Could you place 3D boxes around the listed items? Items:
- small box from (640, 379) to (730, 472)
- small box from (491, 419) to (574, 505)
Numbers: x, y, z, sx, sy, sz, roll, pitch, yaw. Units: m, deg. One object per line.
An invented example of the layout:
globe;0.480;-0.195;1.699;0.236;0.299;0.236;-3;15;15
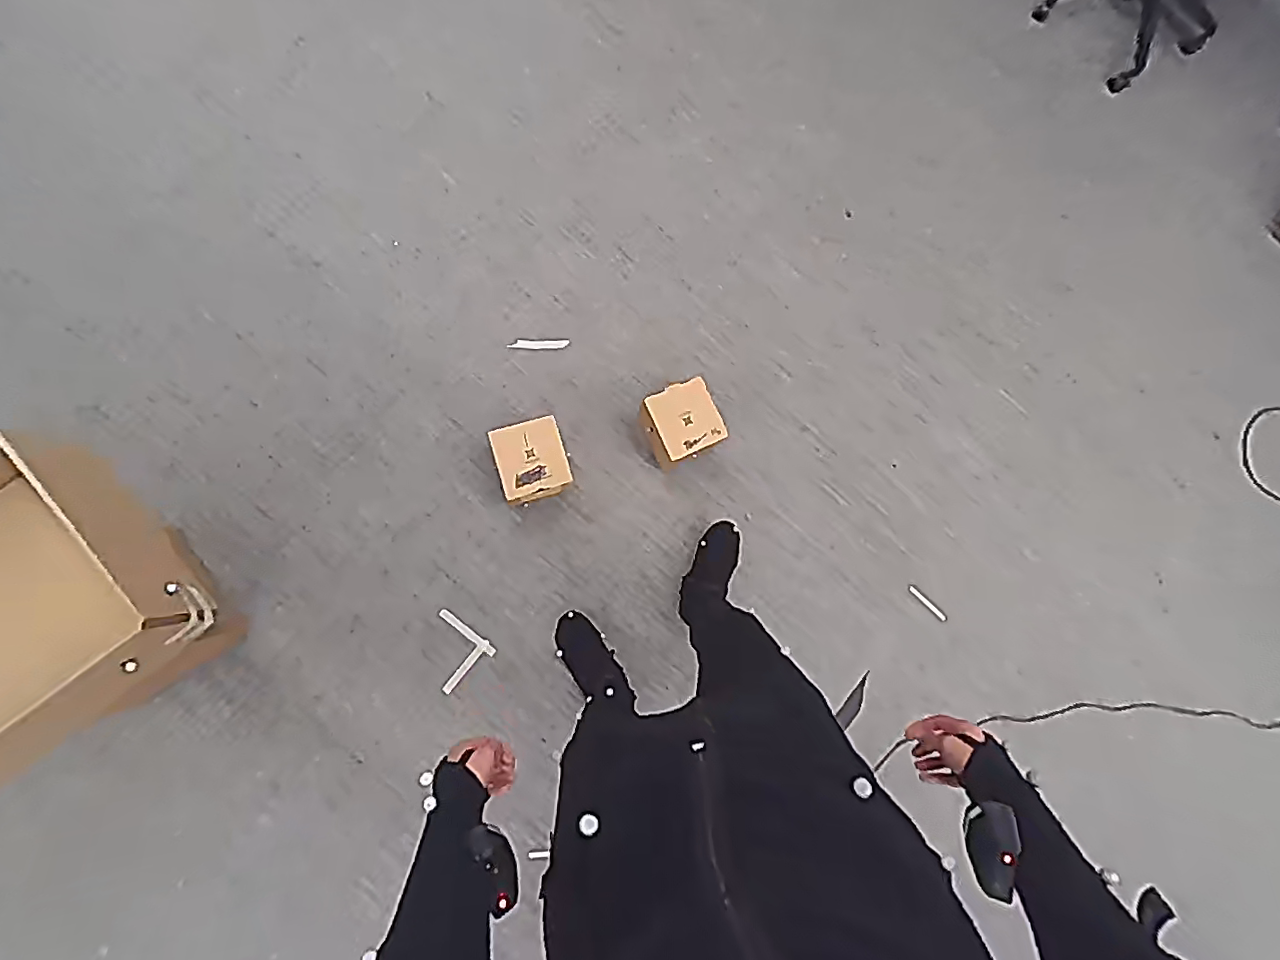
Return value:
small box;0.111;-0.138;1.438;0.168;0.176;0.179;-24;85;-9
small box;-0.267;-0.038;1.377;0.168;0.176;0.179;-17;85;-9
